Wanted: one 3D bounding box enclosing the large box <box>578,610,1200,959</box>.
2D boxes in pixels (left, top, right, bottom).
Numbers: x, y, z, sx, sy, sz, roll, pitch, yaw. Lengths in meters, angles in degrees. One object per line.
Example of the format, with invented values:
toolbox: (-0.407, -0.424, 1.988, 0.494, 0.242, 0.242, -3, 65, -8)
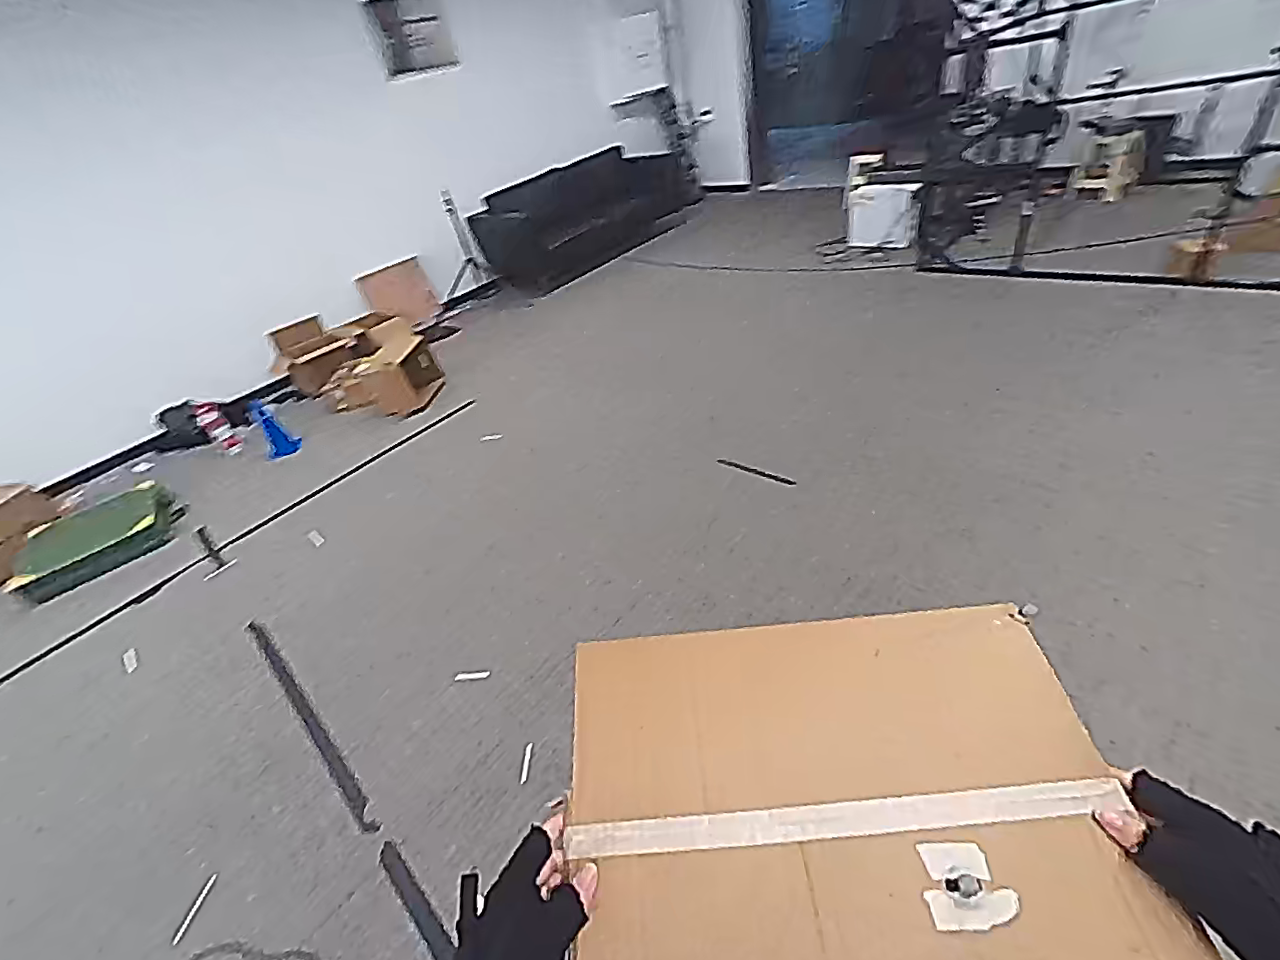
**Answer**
large box: (0.162, 0.358, 0.519, 0.408, 0.320, 0.320, -7, 48, 0)
